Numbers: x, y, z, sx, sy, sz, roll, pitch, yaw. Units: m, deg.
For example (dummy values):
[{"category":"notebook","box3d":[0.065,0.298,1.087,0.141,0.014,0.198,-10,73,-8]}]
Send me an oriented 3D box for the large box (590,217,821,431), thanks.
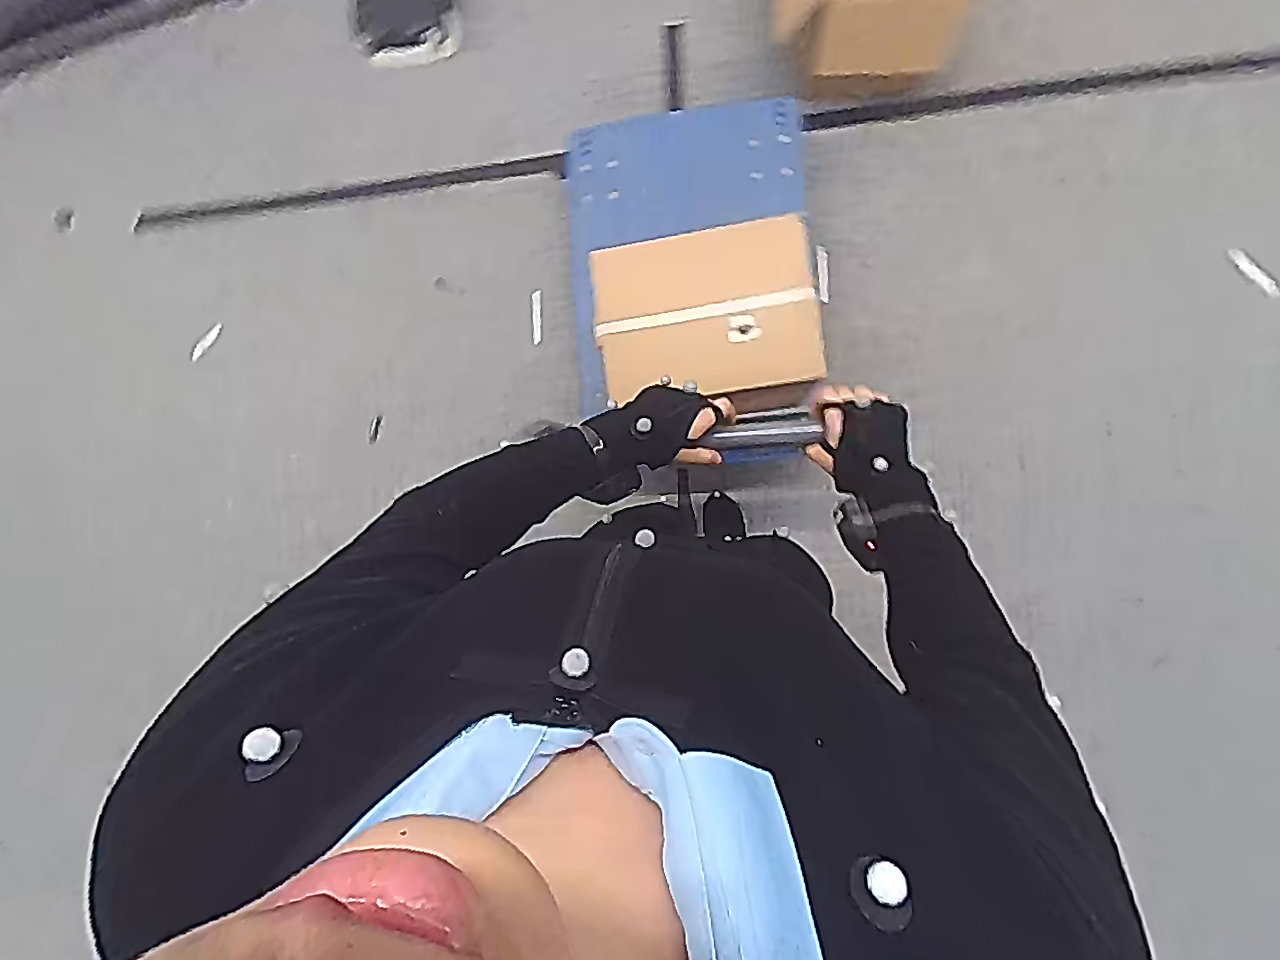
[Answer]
[{"category":"large box","box3d":[0.133,-0.306,1.172,0.408,0.320,0.320,-9,88,5]}]
